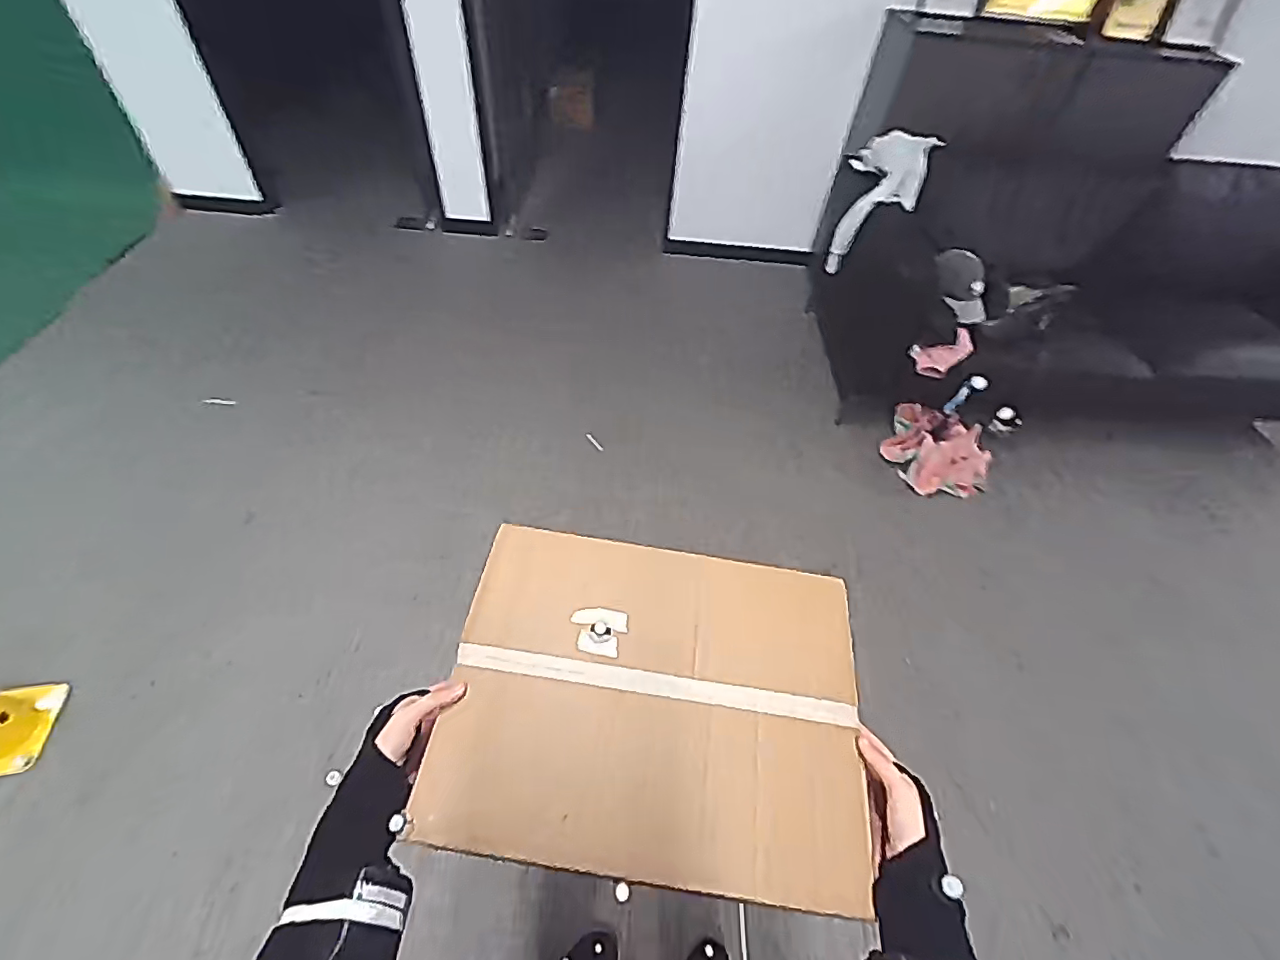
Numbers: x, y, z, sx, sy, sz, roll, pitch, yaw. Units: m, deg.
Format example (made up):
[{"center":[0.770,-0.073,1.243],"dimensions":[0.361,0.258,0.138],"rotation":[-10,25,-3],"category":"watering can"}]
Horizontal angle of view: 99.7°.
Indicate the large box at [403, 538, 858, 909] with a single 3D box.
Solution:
[{"center":[-0.001,0.303,0.669],"dimensions":[0.408,0.320,0.320],"rotation":[9,52,1],"category":"large box"}]
